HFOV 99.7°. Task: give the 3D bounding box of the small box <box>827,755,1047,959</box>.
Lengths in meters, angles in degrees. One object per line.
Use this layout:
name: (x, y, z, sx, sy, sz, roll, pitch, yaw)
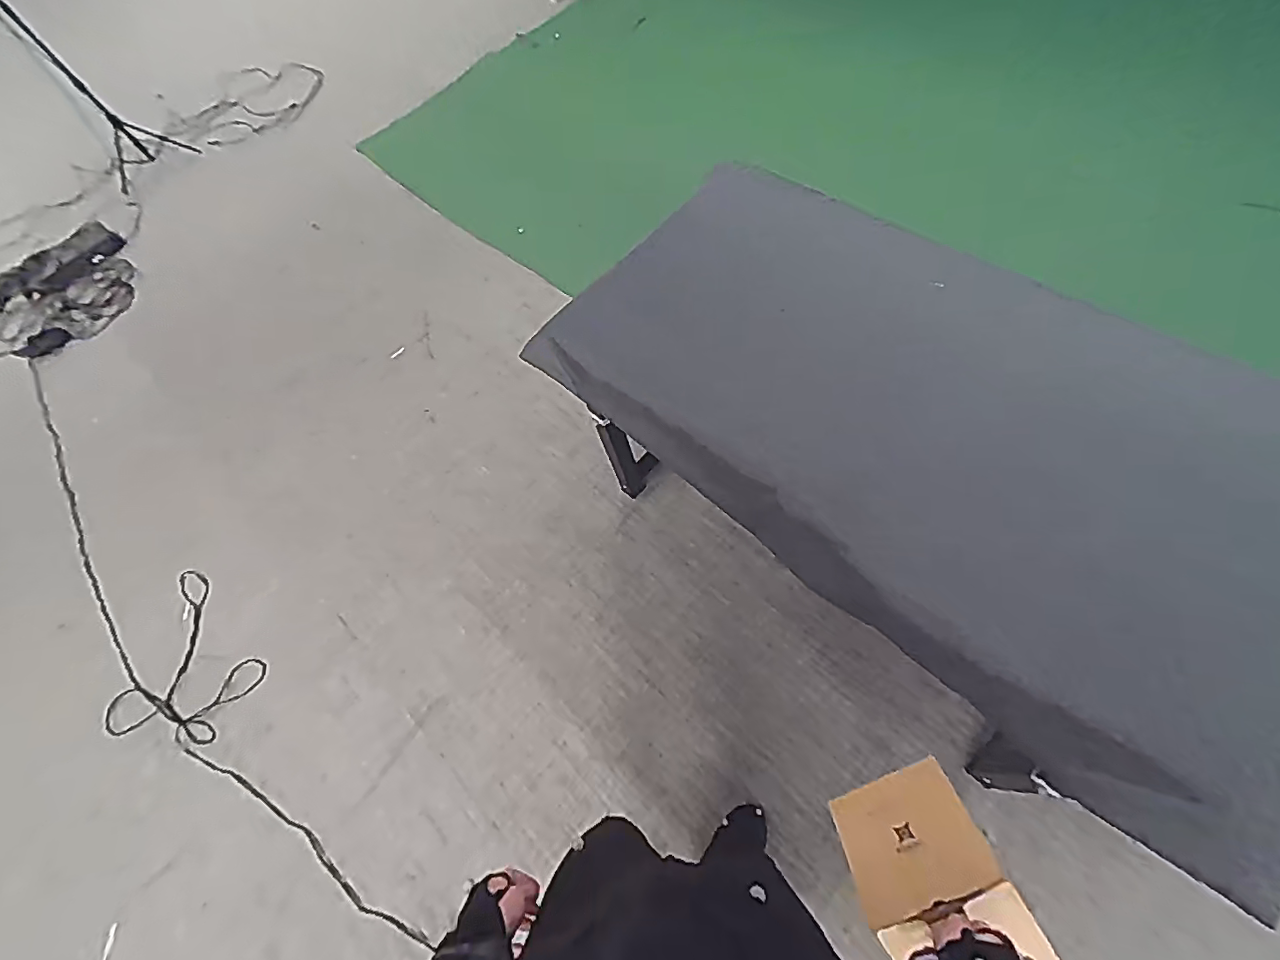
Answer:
small box: (0.377, 0.513, 0.707, 0.168, 0.179, 0.176, -31, 104, 13)
